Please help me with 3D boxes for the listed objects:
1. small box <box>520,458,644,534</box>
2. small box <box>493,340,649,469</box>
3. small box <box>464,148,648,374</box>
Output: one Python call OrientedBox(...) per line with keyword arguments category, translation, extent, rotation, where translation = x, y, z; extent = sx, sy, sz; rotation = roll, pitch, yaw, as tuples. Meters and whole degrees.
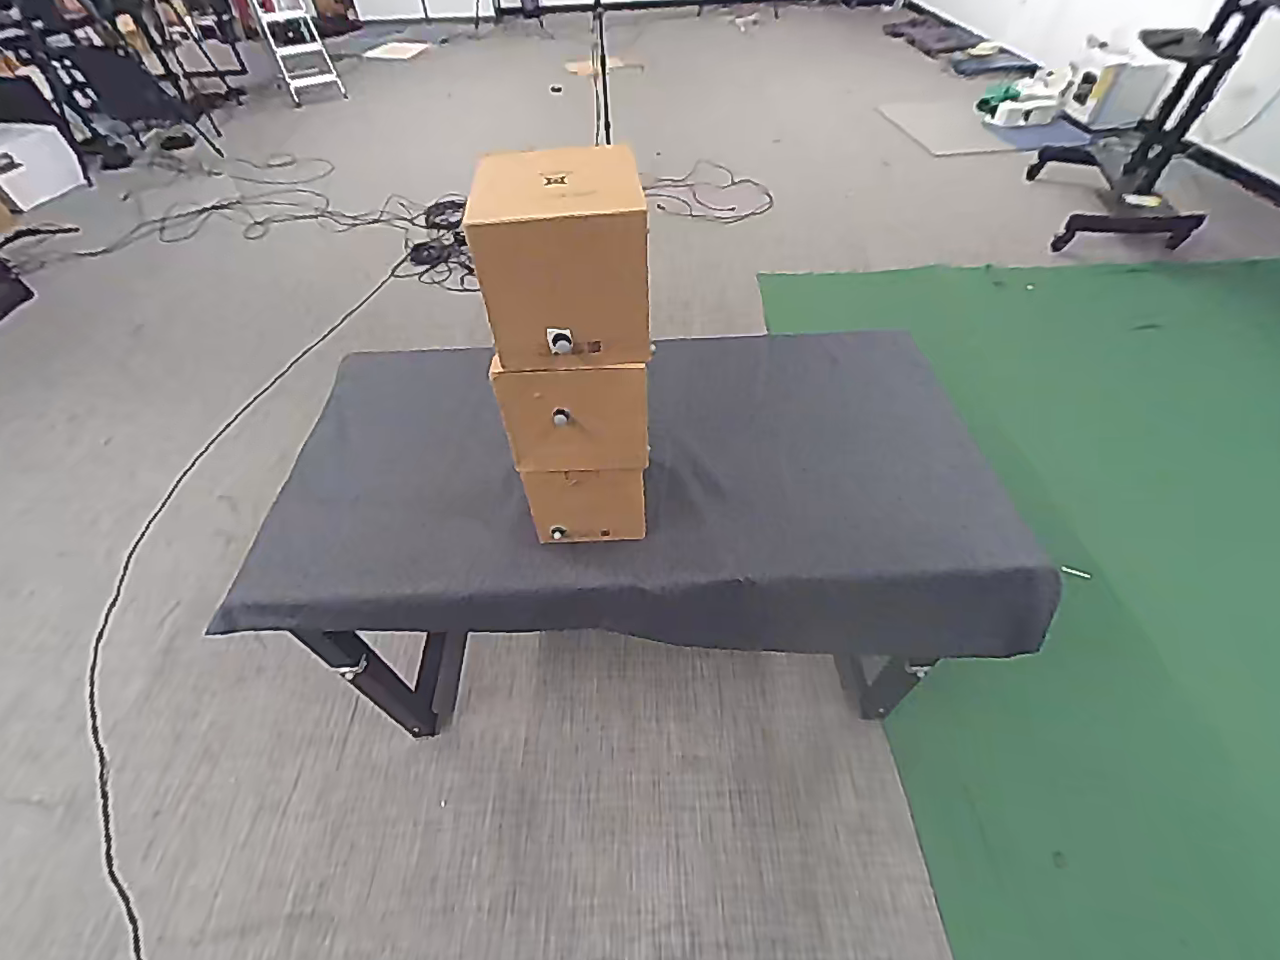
OrientedBox(category="small box", translation=(-0.080, -0.026, 0.845), extent=(0.168, 0.176, 0.179), rotation=(-3, 48, 0))
OrientedBox(category="small box", translation=(-0.082, -0.129, 0.721), extent=(0.179, 0.176, 0.168), rotation=(-4, 47, -2))
OrientedBox(category="small box", translation=(-0.084, -0.241, 0.600), extent=(0.168, 0.176, 0.179), rotation=(-7, 50, -3))
